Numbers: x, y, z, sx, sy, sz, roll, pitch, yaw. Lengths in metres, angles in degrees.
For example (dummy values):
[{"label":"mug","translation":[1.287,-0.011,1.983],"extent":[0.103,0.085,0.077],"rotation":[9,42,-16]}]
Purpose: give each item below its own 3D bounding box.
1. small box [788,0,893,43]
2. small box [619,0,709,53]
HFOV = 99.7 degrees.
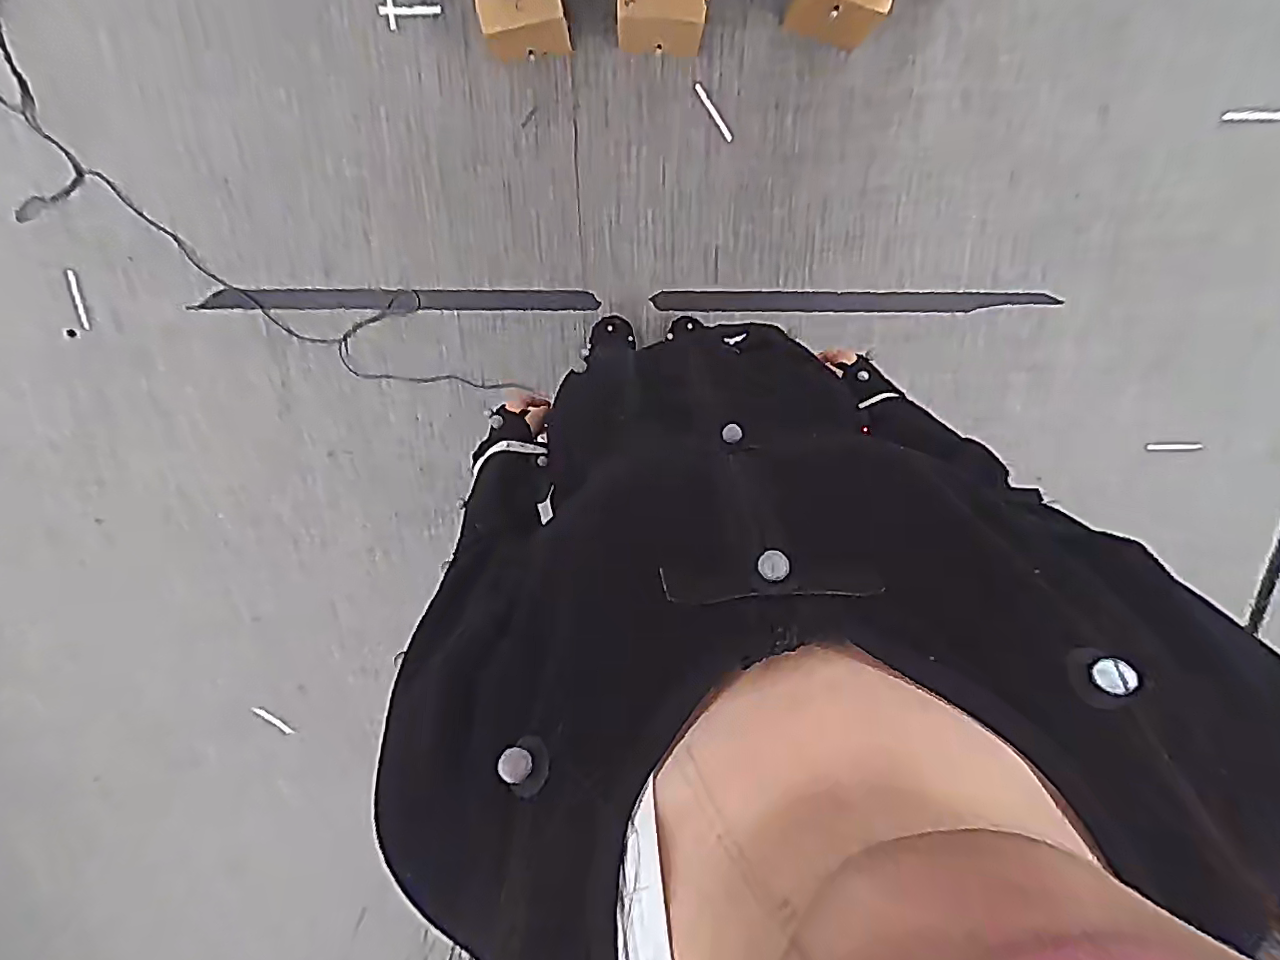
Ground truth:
[{"label":"small box","translation":[0.428,-1.036,1.100],"extent":[0.179,0.176,0.168],"rotation":[16,108,-4]},{"label":"small box","translation":[0.049,-1.006,1.105],"extent":[0.179,0.176,0.168],"rotation":[3,109,-2]}]
